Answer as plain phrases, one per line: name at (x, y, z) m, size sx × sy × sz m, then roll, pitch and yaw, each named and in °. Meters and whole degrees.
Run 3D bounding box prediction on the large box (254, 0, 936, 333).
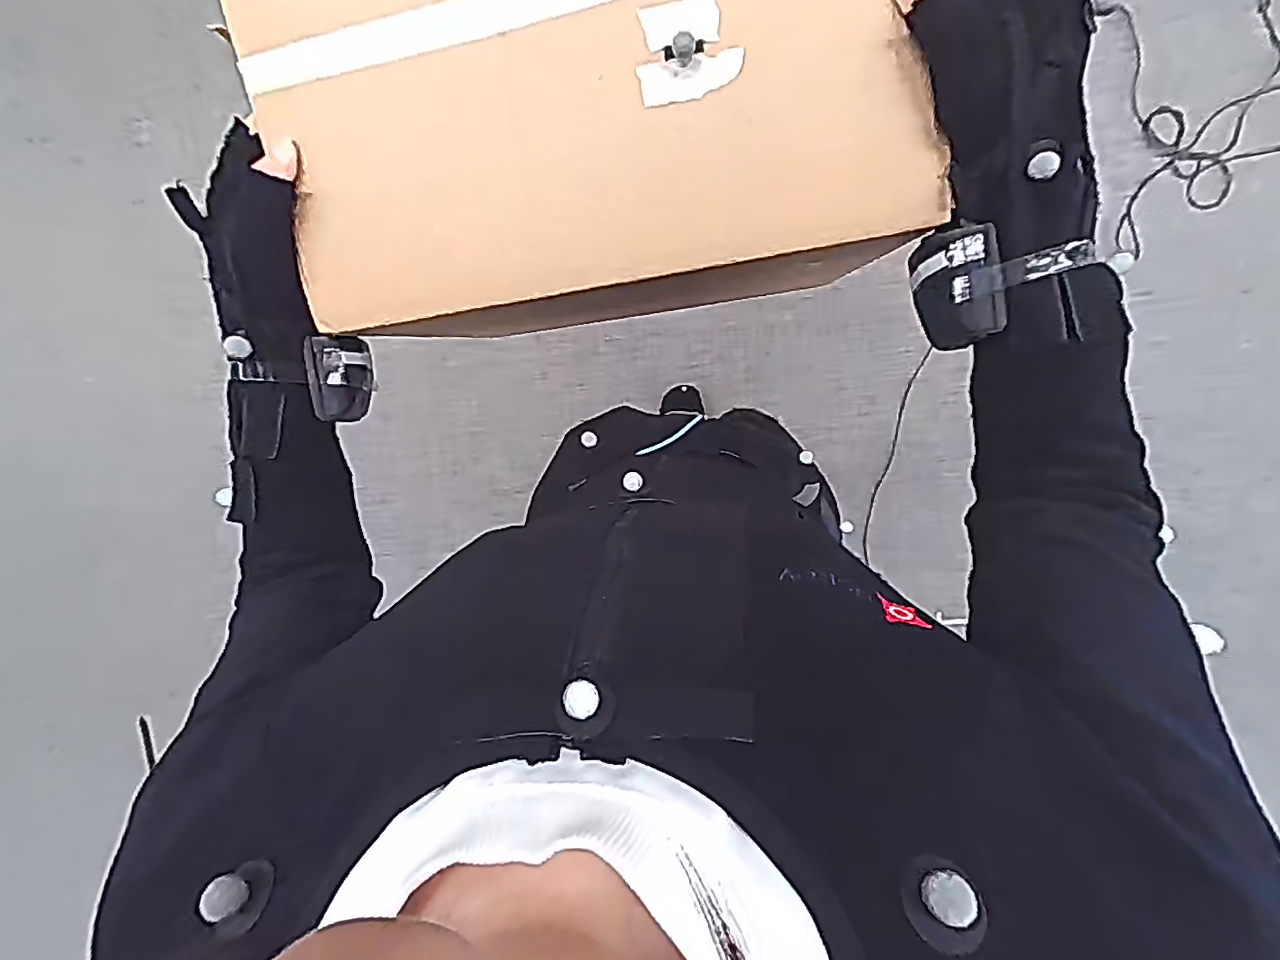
large box at (-0.027, -0.319, 0.463) m, size 0.408 × 0.320 × 0.320 m, roll -7°, pitch 104°, yaw 8°
